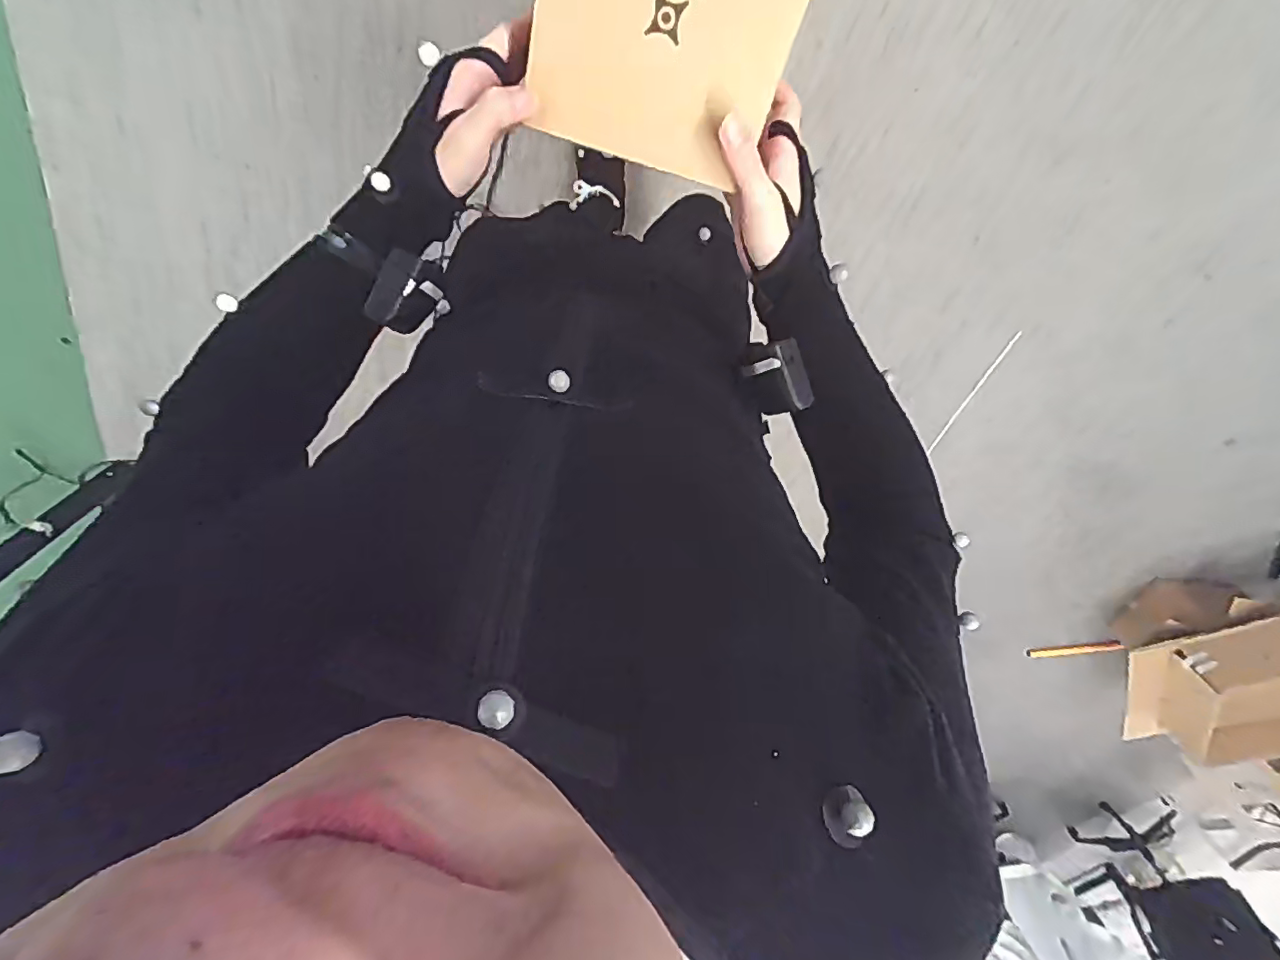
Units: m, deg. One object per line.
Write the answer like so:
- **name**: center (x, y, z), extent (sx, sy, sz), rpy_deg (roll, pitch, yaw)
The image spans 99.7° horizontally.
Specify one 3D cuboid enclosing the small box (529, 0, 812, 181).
- **small box**: center (0.027, -0.352, 0.395), extent (0.168, 0.176, 0.179), rpy_deg (13, 129, -8)
